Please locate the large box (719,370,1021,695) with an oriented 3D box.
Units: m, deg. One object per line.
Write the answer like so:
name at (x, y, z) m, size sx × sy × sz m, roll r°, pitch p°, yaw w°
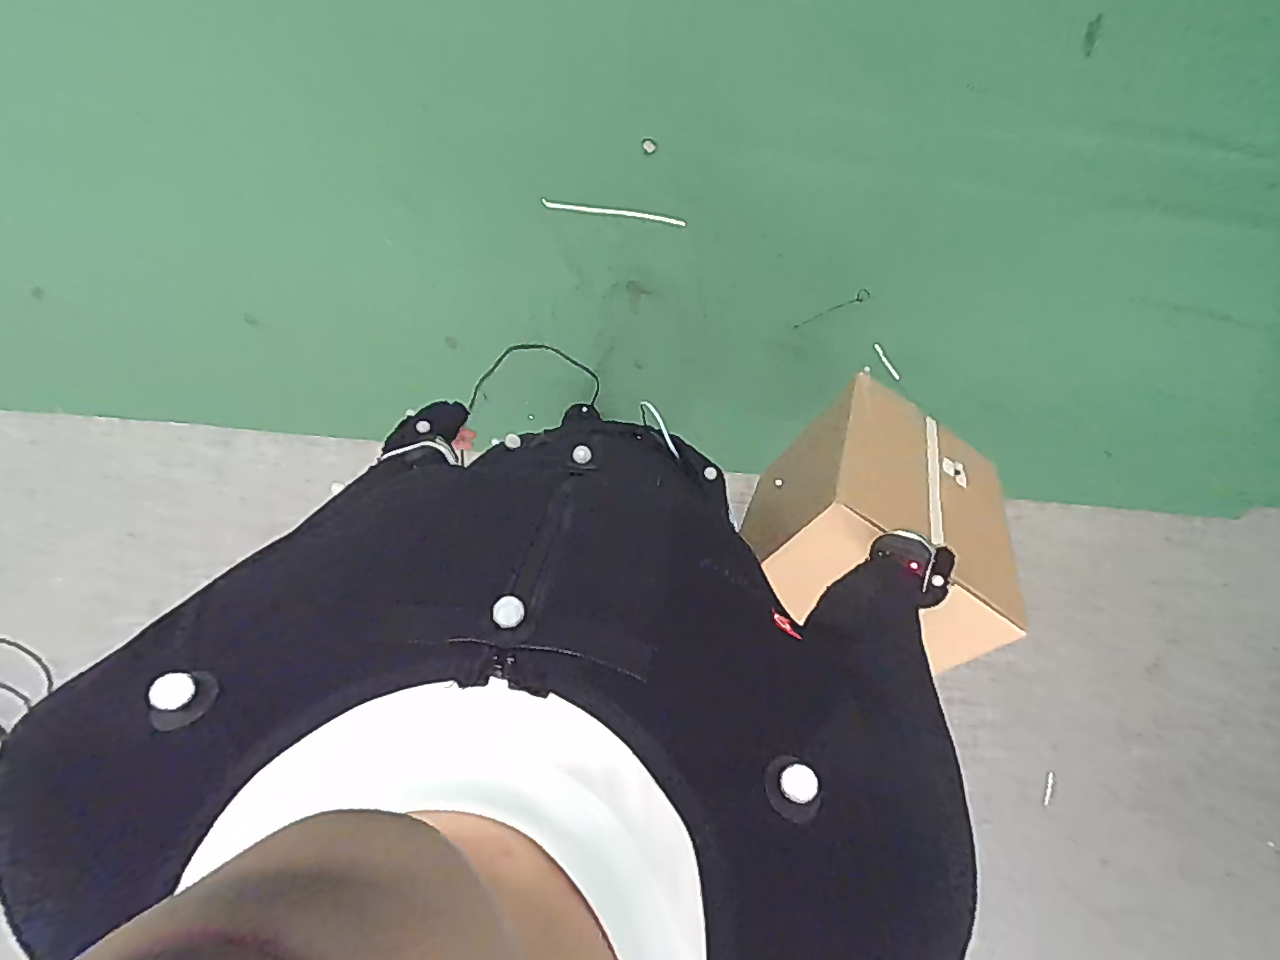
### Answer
large box at (0.384, 0.085, 0.952) m, size 0.320 × 0.408 × 0.320 m, roll 35°, pitch 133°, yaw -3°
